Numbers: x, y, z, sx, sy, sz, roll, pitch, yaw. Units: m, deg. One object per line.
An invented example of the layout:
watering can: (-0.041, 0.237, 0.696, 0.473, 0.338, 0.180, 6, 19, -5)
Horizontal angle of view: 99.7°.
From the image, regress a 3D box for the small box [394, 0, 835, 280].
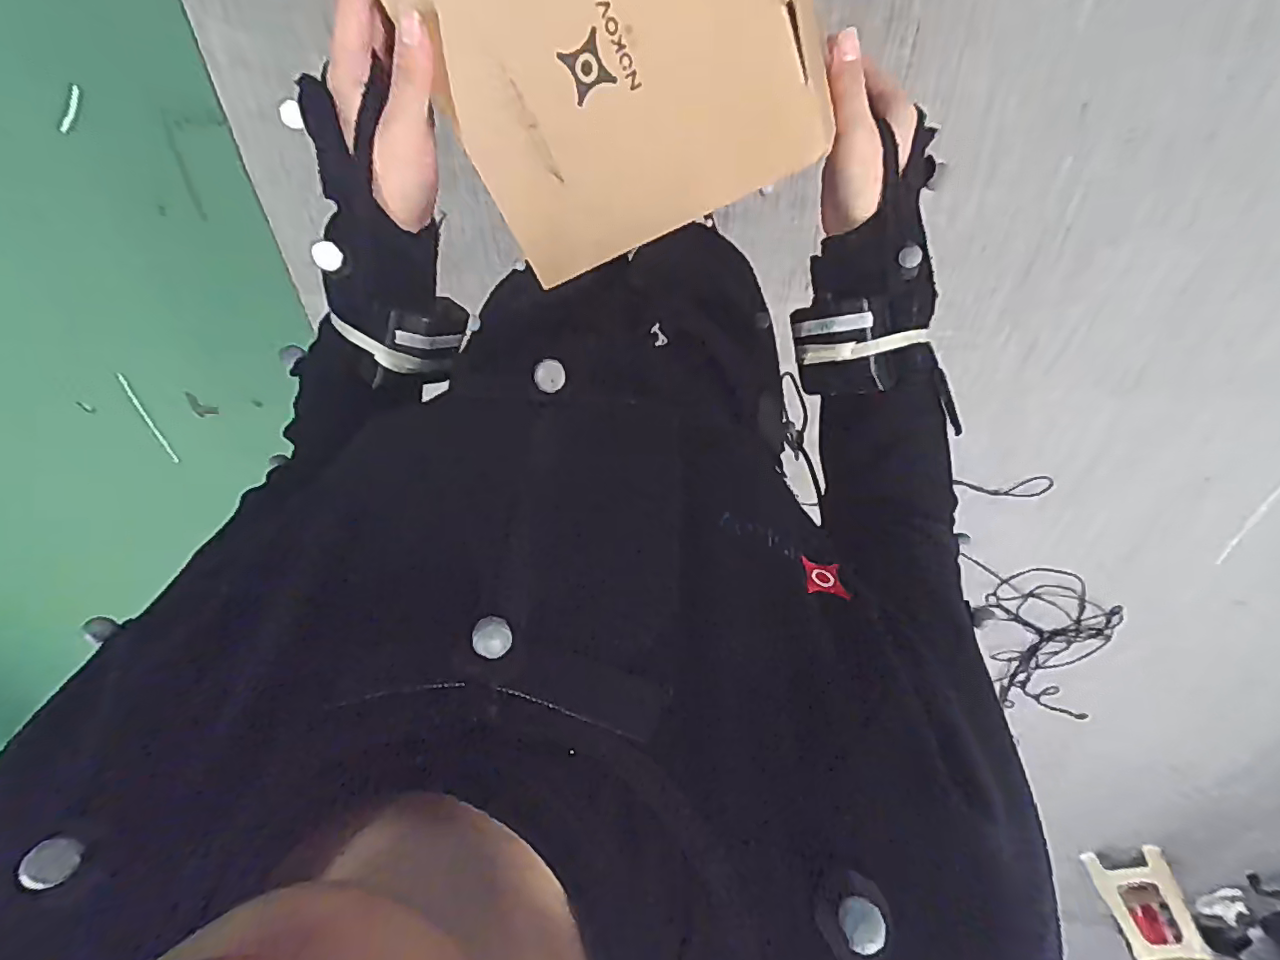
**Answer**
small box: (0.005, -0.250, 0.316, 0.179, 0.176, 0.168, -13, 120, 30)
